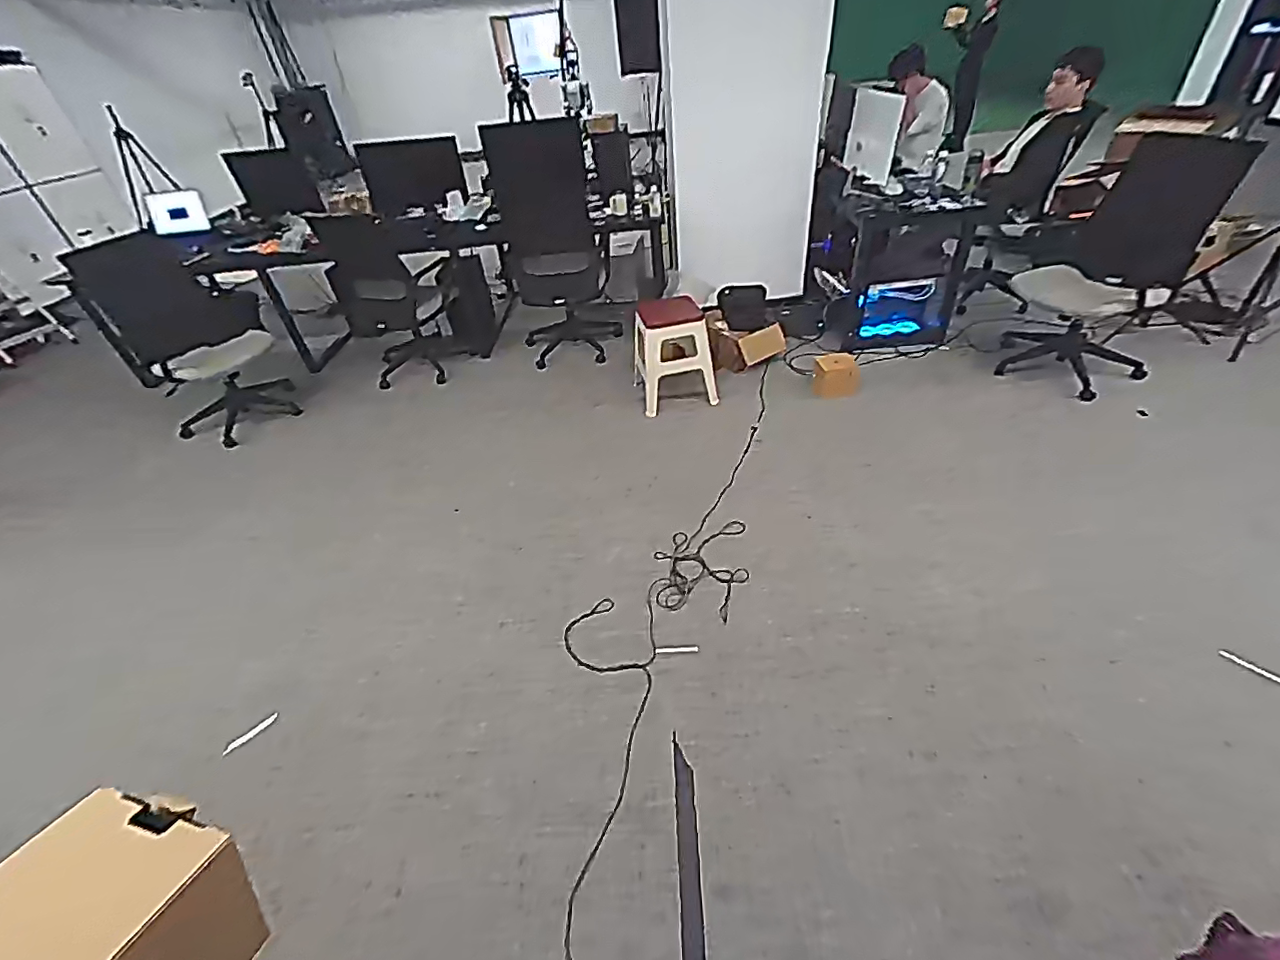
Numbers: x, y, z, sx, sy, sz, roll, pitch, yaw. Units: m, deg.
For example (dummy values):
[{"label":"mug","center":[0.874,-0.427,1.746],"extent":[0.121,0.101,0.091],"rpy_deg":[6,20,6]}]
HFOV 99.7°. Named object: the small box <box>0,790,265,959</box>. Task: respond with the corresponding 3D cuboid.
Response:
[{"label":"small box","center":[-0.479,0.428,0.478],"extent":[0.168,0.176,0.179],"rpy_deg":[10,25,13]}]
